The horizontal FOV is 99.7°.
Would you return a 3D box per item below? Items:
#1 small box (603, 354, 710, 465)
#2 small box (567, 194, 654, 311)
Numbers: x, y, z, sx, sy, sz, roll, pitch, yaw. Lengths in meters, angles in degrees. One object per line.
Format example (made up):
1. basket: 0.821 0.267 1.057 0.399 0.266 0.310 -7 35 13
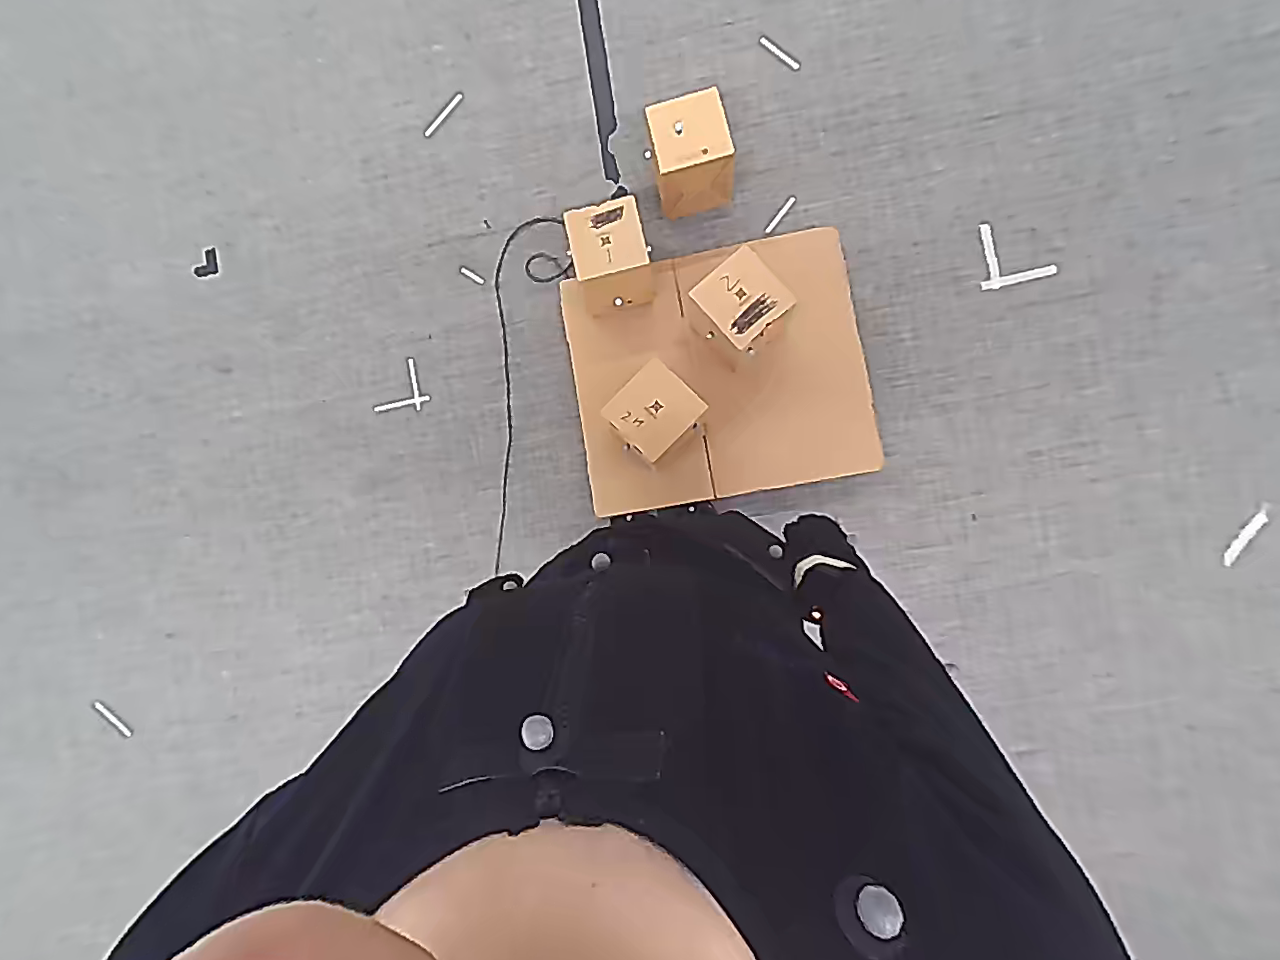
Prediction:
1. small box: 0.039 -0.154 1.246 0.179 0.176 0.168 -45 84 1
2. small box: -0.064 -0.531 1.279 0.168 0.176 0.179 -13 81 3
